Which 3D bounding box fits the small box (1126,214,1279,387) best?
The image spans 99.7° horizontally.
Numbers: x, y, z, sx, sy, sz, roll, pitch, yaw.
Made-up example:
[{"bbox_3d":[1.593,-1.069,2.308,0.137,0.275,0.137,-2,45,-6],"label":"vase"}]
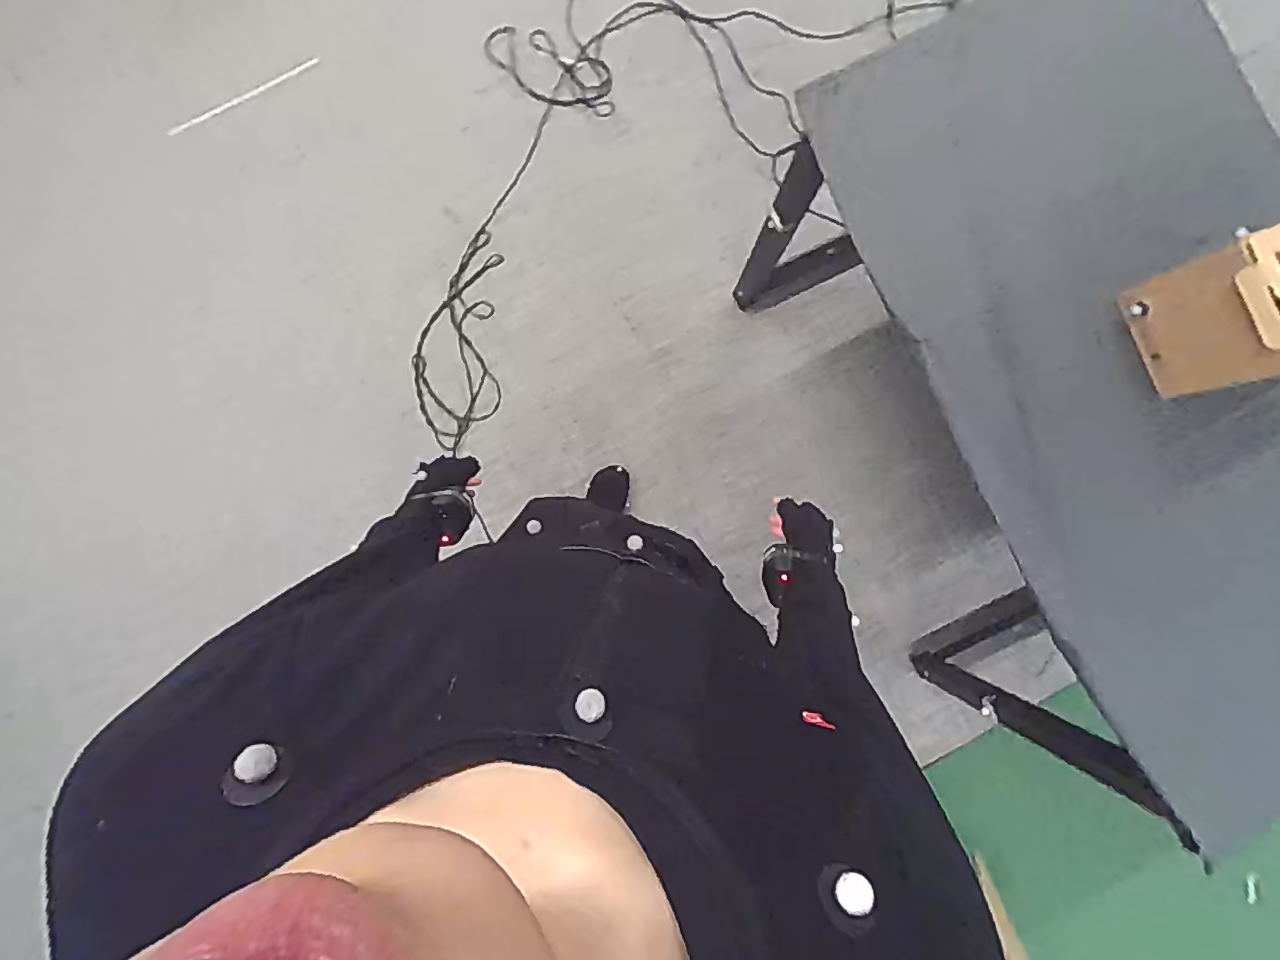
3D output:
[{"bbox_3d":[0.789,-0.236,0.698,0.179,0.176,0.168,-22,88,-2],"label":"small box"}]
